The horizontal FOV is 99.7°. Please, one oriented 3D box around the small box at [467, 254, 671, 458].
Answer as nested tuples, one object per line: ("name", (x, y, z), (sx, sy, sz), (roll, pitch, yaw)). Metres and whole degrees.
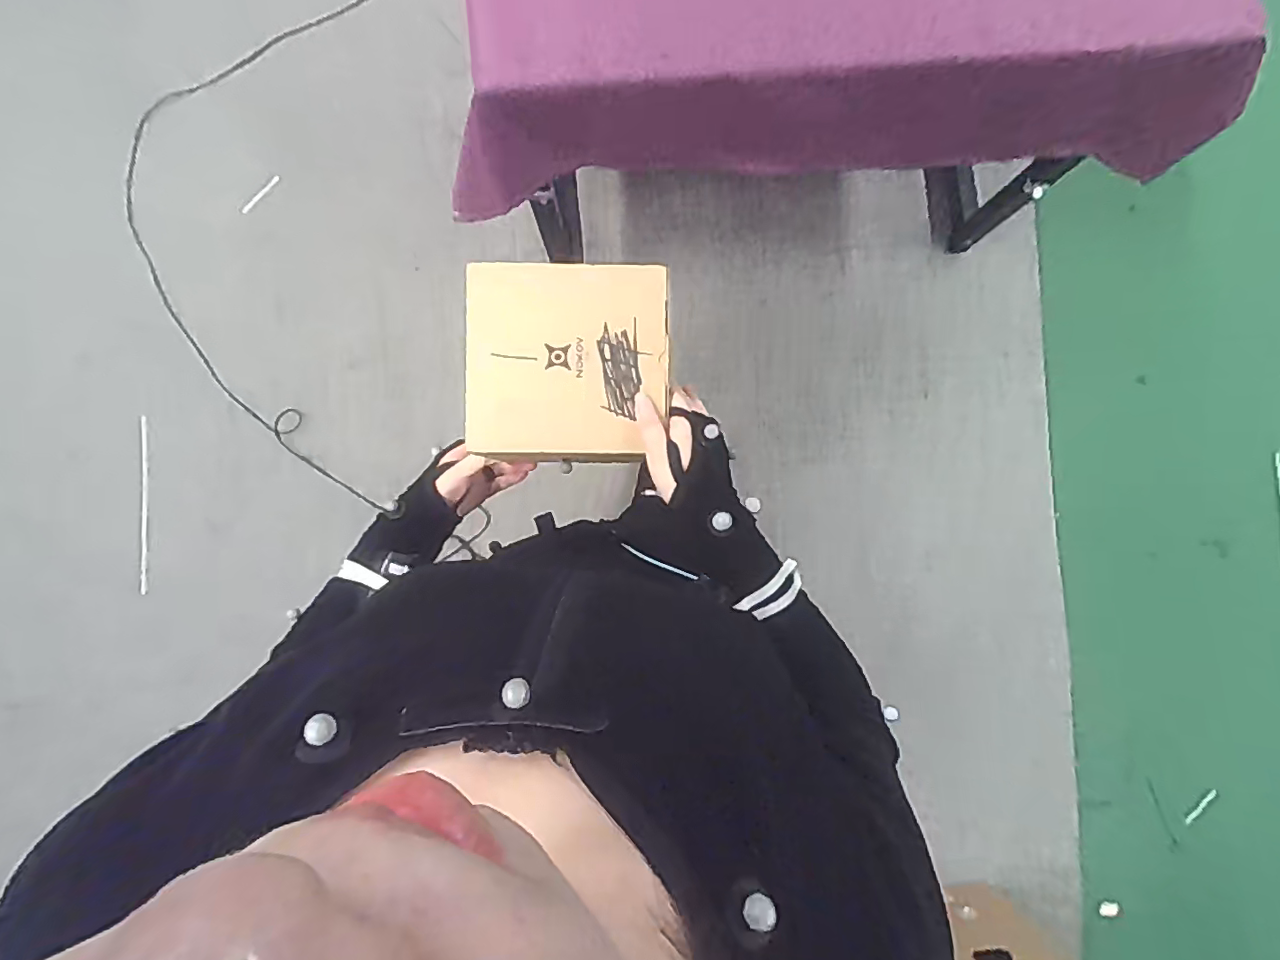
("small box", (-0.065, -0.110, 0.547), (0.179, 0.176, 0.168), (0, 89, -2))
